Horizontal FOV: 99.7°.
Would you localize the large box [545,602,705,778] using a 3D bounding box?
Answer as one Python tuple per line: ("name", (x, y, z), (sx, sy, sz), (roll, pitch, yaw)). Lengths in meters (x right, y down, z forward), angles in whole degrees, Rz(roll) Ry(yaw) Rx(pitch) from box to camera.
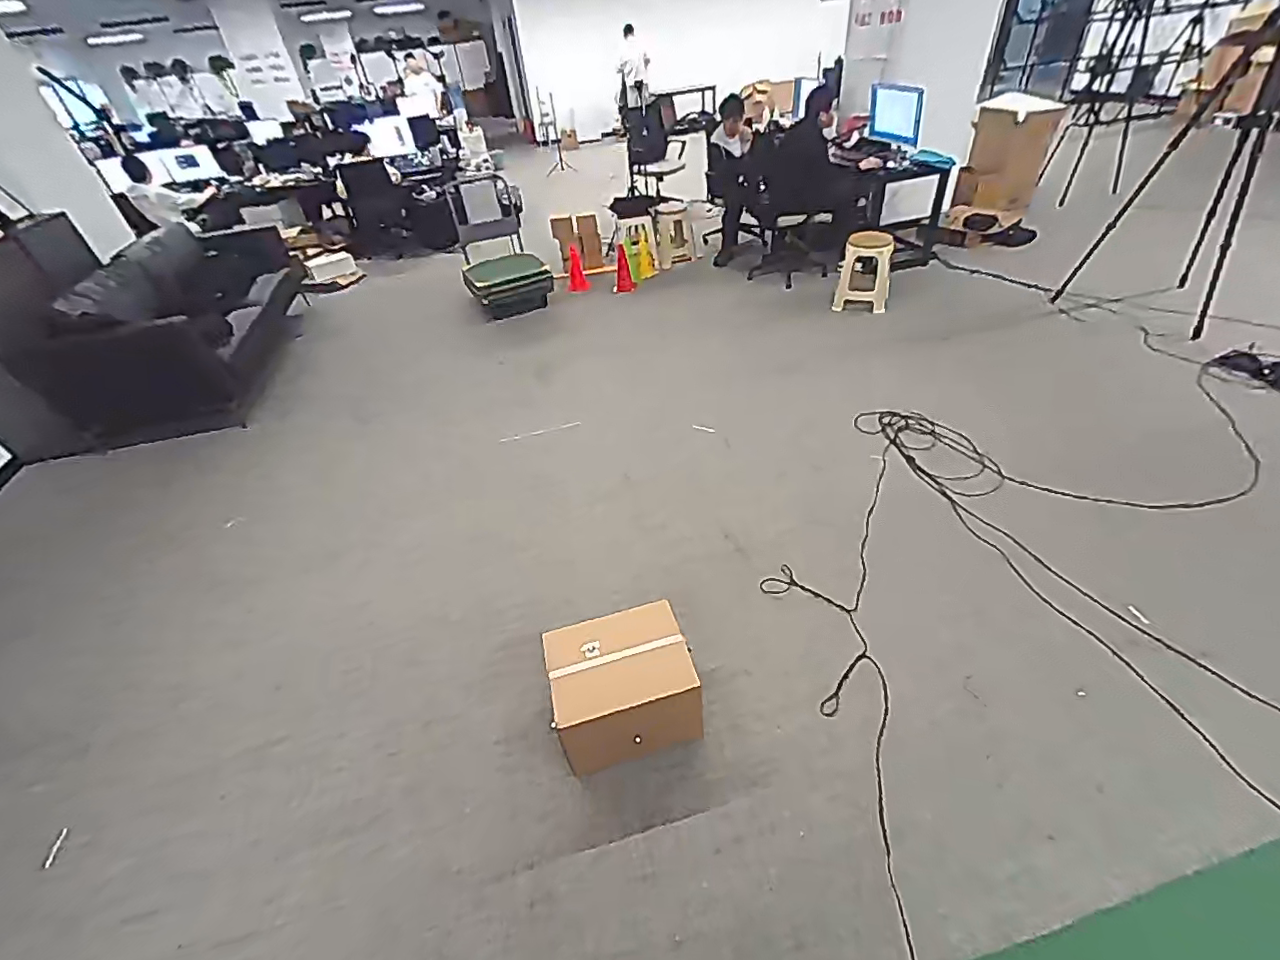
("large box", (-0.043, 0.640, 1.660), (0.408, 0.320, 0.320), (-15, 39, -8))
